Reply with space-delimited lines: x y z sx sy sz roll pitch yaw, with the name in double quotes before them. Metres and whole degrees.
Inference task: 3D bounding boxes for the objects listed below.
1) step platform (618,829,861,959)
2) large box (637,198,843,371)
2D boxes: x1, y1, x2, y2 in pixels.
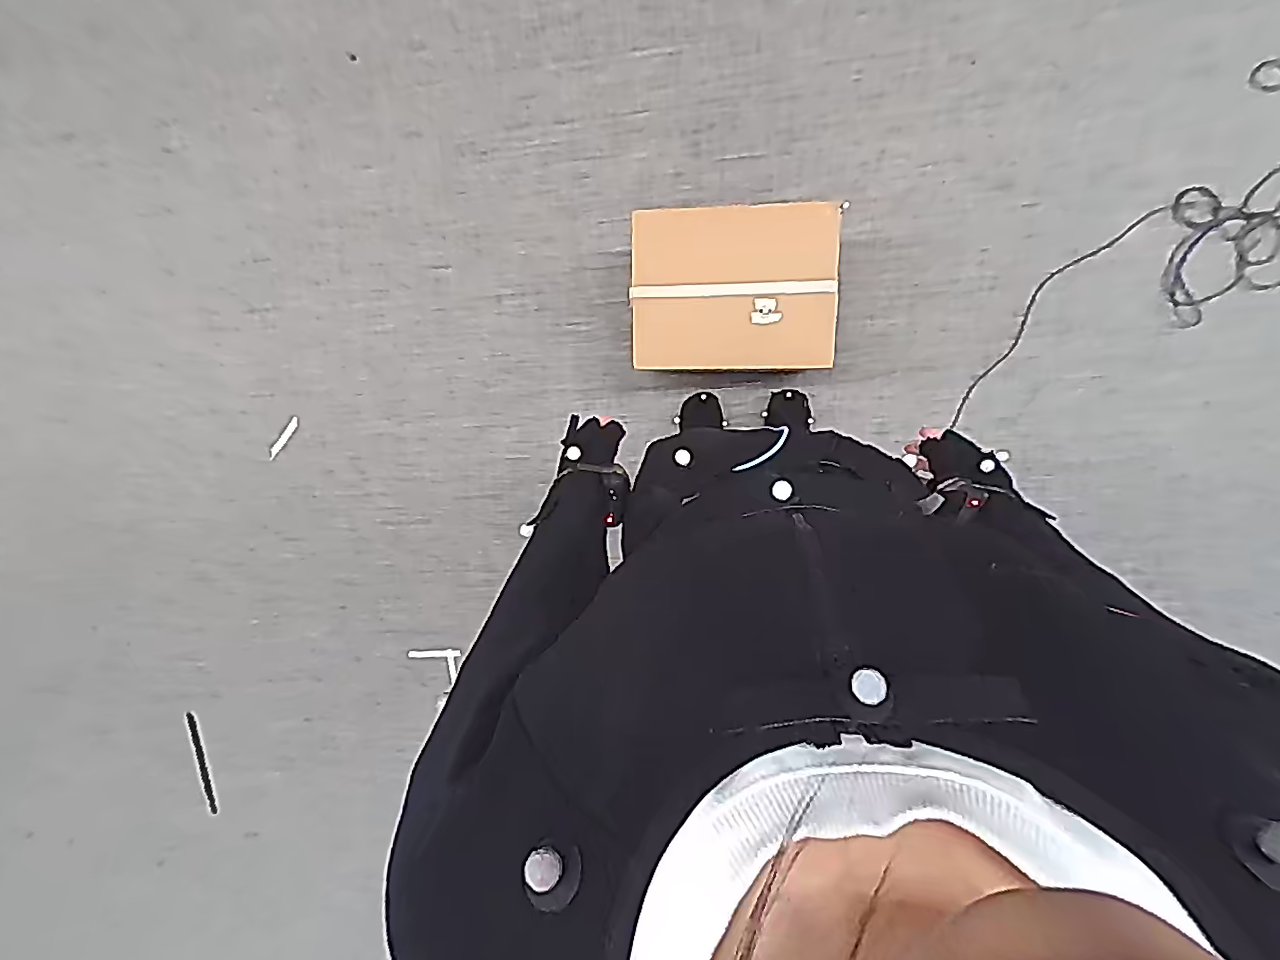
"step platform" 0.278 1.236 1.578 0.684 0.204 0.286 -3 100 11
"large box" 0.211 -0.412 1.224 0.408 0.320 0.320 1 101 8
